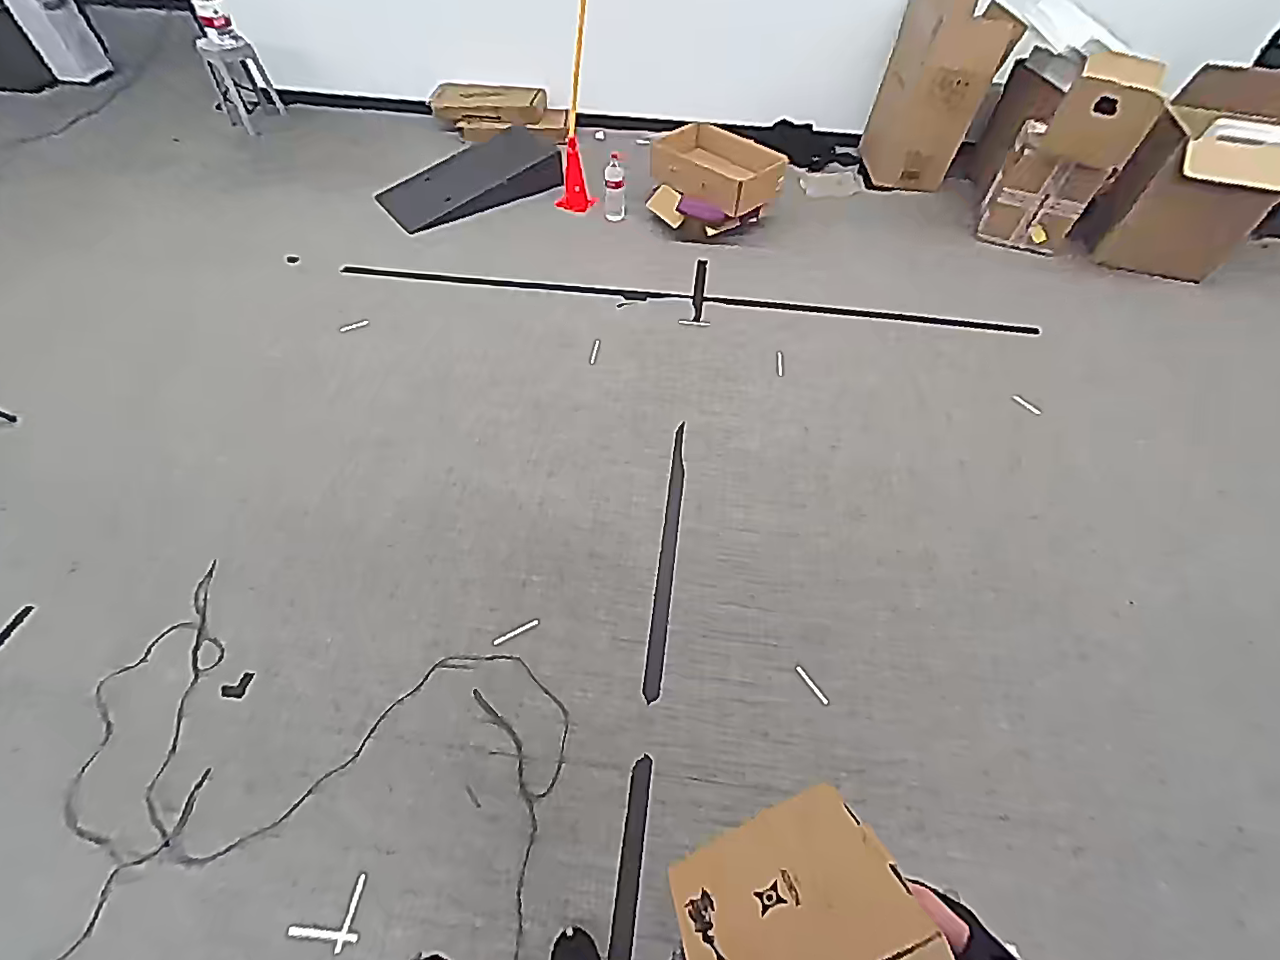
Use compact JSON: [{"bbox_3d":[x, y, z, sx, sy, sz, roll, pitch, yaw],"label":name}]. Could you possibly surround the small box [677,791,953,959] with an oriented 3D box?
[{"bbox_3d":[0.153,0.416,0.451,0.179,0.168,0.176,-24,94,-5],"label":"small box"}]
